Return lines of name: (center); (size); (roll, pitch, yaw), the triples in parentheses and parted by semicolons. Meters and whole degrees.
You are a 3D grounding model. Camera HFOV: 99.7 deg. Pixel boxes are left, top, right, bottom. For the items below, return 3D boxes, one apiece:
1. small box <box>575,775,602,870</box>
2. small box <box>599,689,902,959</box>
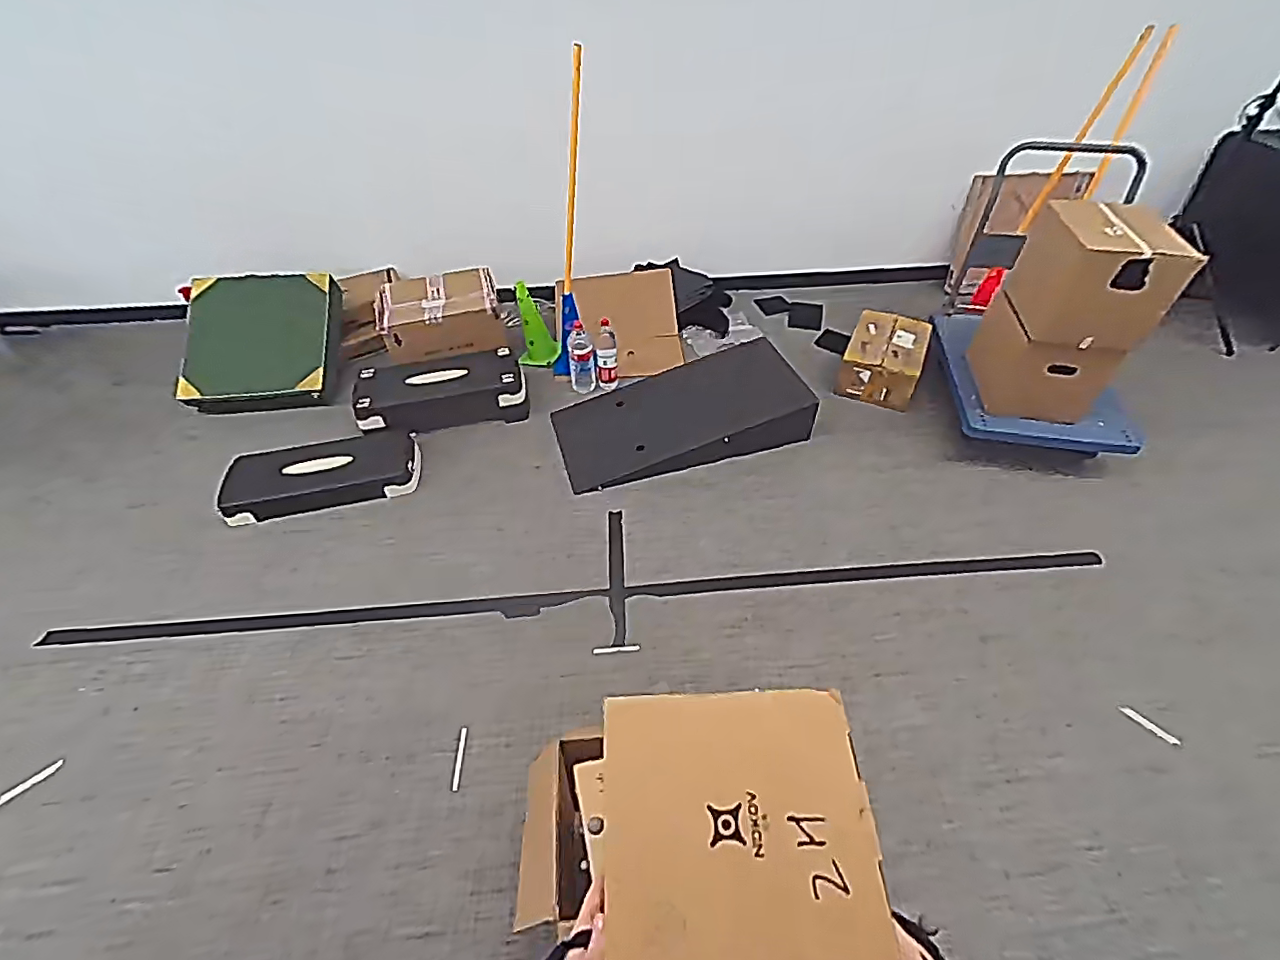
small box: (-0.016, 0.671, 1.066); (0.179, 0.176, 0.168); (-17, 52, -18)
small box: (0.062, 0.265, 0.413); (0.179, 0.176, 0.168); (-1, 57, -2)
